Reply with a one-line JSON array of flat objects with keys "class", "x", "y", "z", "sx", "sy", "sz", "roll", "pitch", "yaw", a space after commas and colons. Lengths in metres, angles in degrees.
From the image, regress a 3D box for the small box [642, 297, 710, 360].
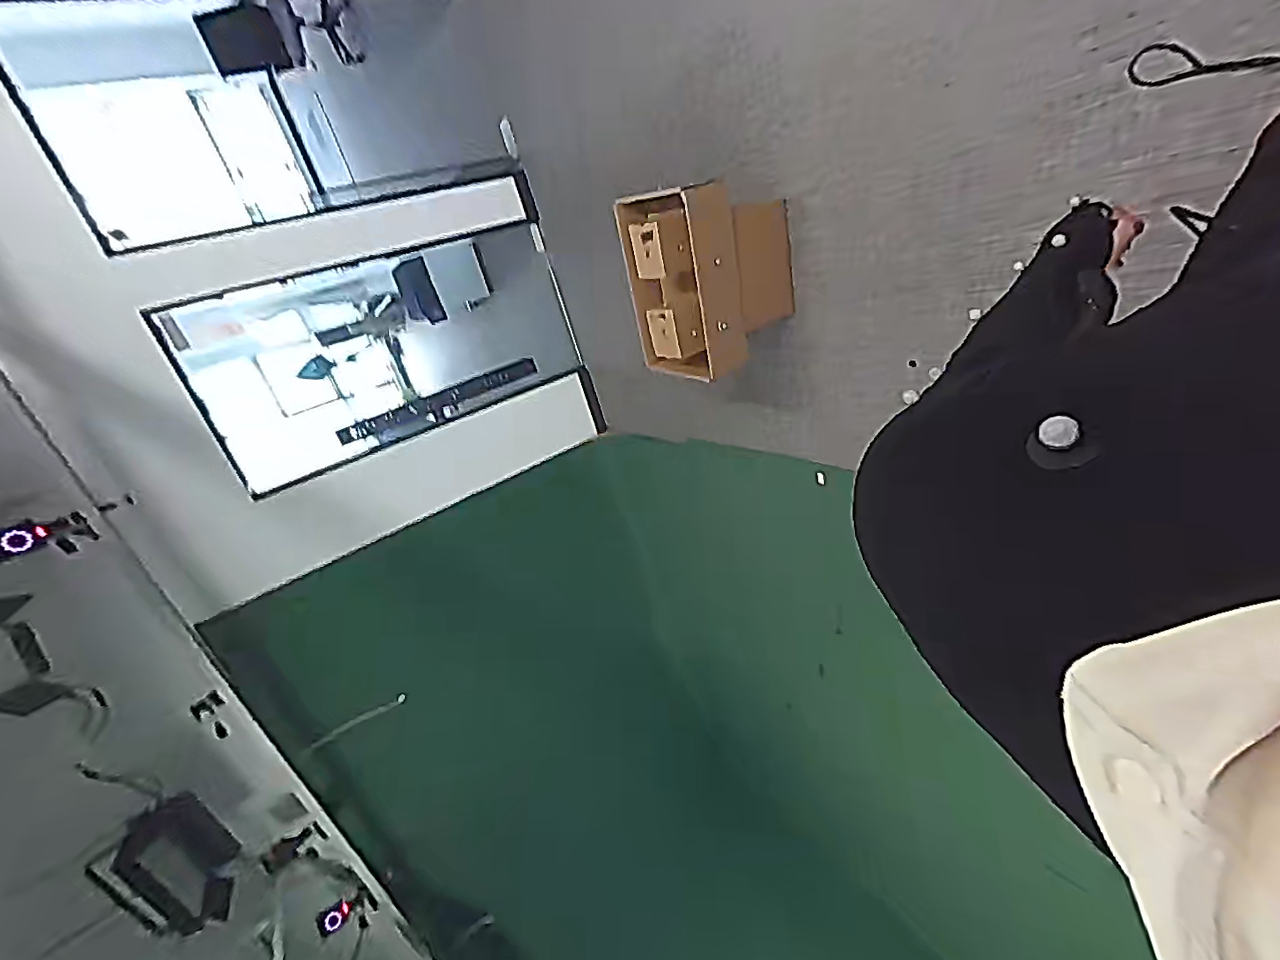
[{"class": "small box", "x": 0.137, "y": -0.554, "z": 1.964, "sx": 0.168, "sy": 0.176, "sz": 0.179, "roll": 24, "pitch": 136, "yaw": 52}]
